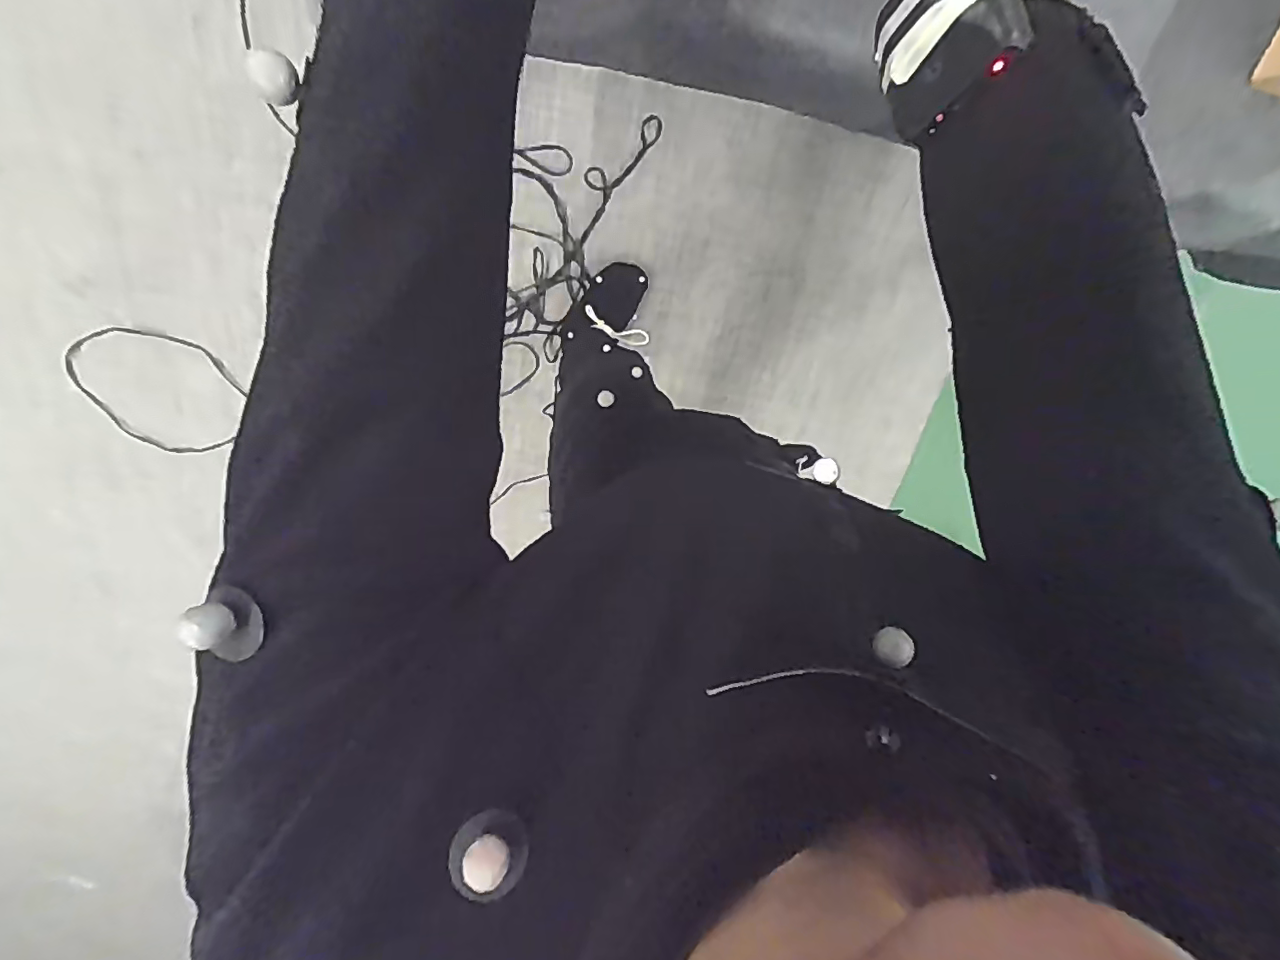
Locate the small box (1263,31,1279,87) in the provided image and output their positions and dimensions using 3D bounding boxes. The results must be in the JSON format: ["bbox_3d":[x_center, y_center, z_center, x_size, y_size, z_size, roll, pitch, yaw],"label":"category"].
[{"bbox_3d":[0.701,-0.415,0.440,0.179,0.176,0.168,9,113,-14],"label":"small box"}]
